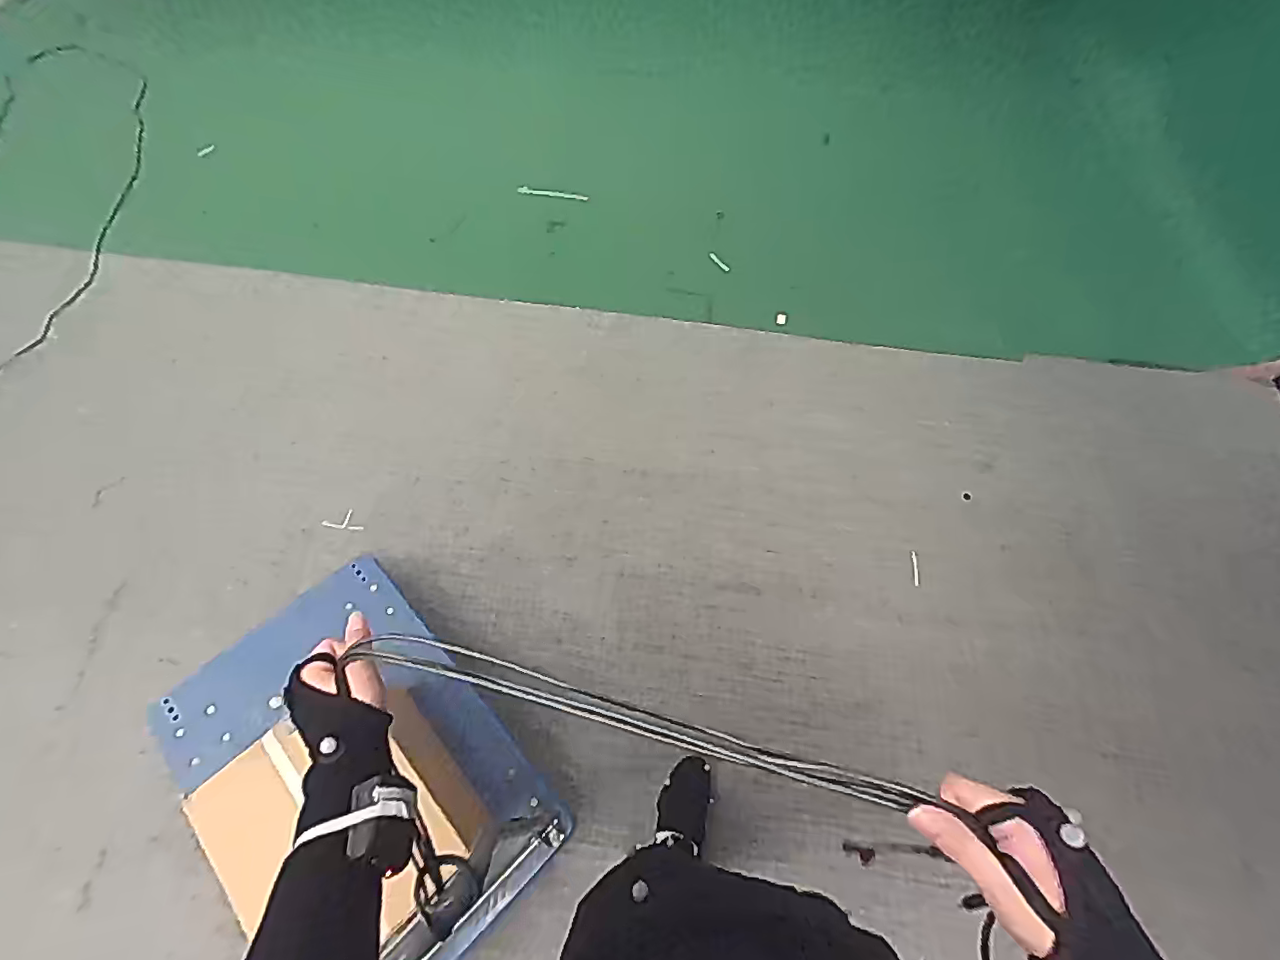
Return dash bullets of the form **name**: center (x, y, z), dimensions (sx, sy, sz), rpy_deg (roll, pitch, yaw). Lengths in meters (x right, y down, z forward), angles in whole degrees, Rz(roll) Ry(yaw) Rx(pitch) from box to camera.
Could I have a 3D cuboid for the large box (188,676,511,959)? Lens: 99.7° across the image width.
- **large box**: center (-0.511, 0.647, 1.022), dimensions (0.320, 0.320, 0.408), rpy_deg (-40, 70, -20)
